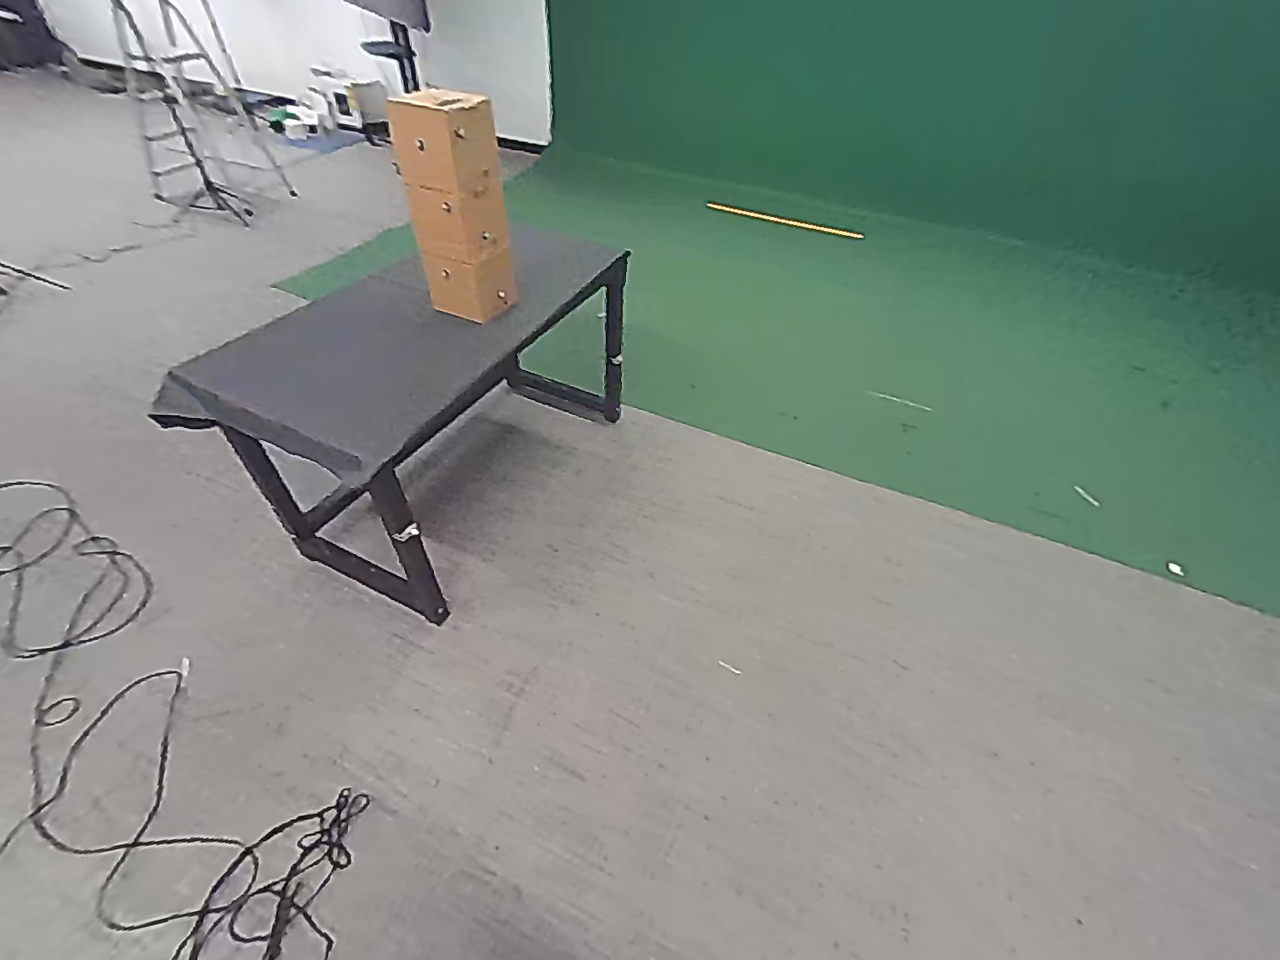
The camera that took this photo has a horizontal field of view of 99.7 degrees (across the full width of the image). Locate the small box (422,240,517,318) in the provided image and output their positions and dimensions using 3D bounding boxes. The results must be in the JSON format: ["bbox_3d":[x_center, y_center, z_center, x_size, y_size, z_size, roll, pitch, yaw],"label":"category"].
[{"bbox_3d":[-0.465,-0.572,1.499,0.179,0.176,0.168,21,48,16],"label":"small box"}]

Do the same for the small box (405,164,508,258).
[{"bbox_3d":[-0.462,-0.688,1.386,0.179,0.176,0.168,21,47,16],"label":"small box"}]
